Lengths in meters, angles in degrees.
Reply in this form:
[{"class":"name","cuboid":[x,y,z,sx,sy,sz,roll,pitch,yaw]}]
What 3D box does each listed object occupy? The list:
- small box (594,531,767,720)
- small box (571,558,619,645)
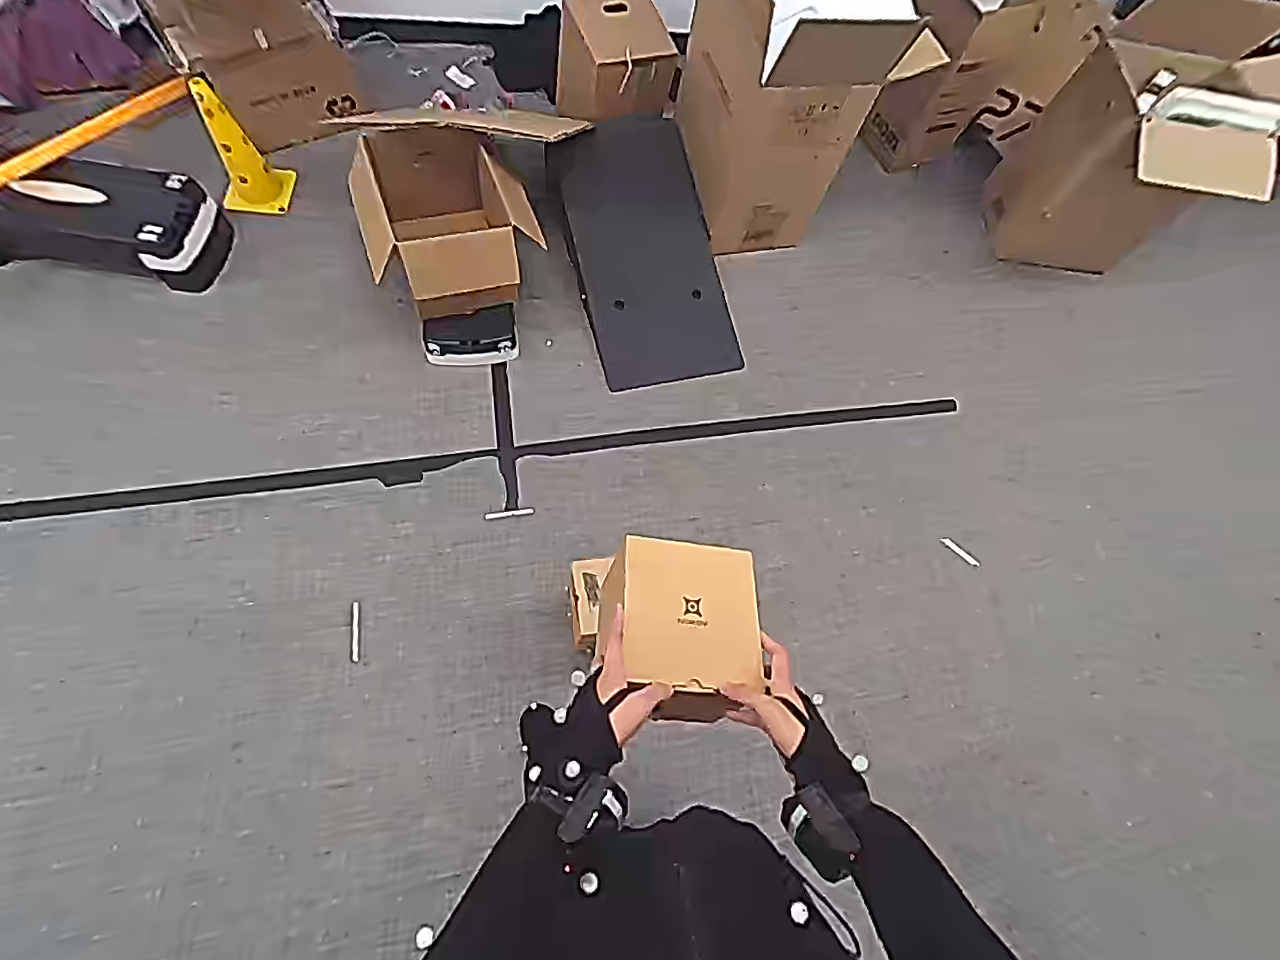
[{"class":"small box","cuboid":[0.040,0.188,0.676,0.168,0.176,0.179,9,56,-11]},{"class":"small box","cuboid":[-0.068,0.286,1.272,0.179,0.176,0.168,-6,69,-13]}]
